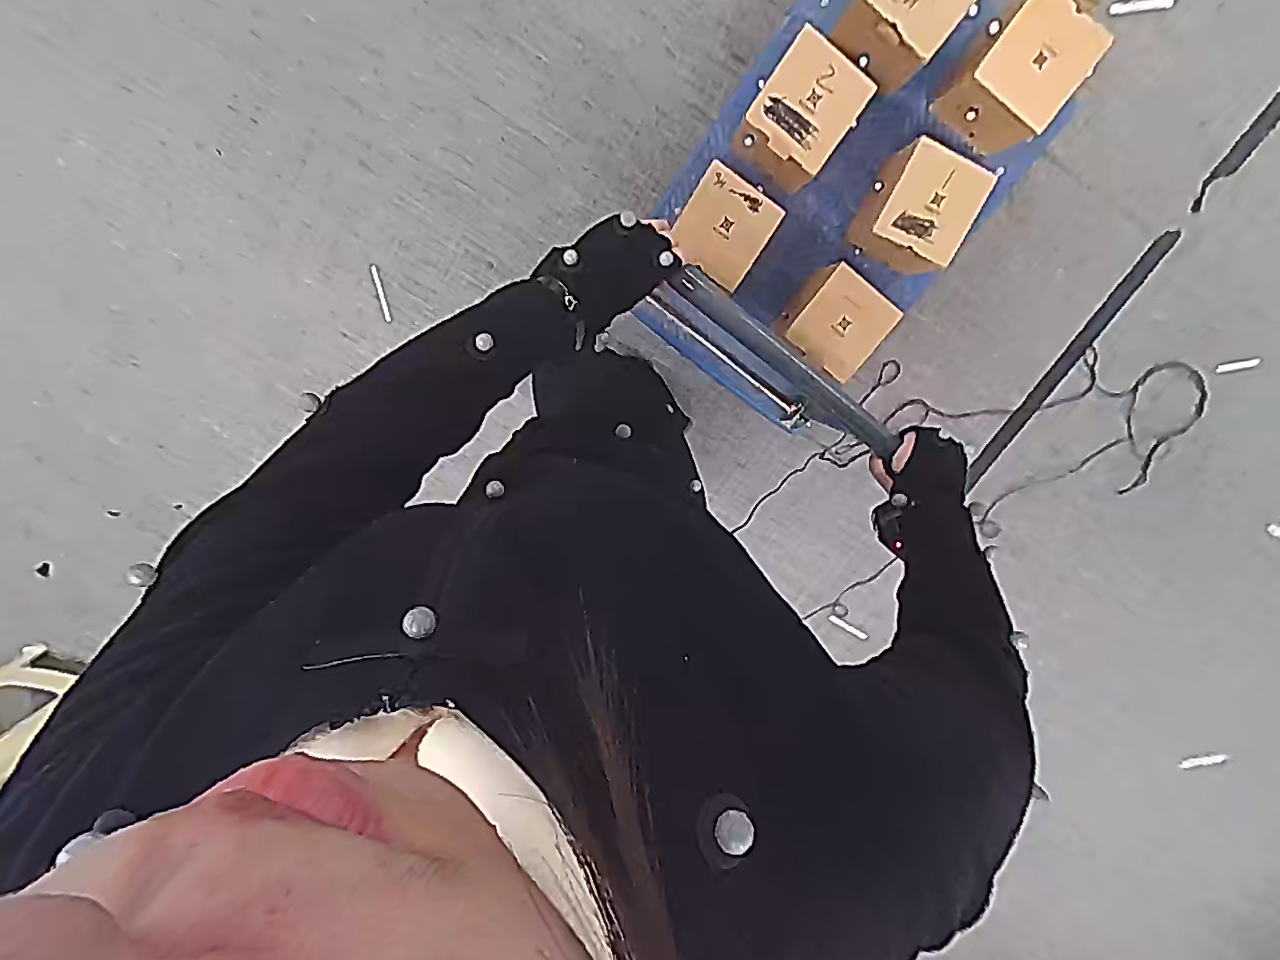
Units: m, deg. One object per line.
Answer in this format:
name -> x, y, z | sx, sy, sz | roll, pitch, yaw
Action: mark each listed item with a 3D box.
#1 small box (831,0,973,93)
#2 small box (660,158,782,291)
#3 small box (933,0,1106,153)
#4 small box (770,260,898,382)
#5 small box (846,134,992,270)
small box -> 0.479, -0.860, 0.977 | 0.168, 0.176, 0.179 | 38, 104, -10
small box -> 0.153, -0.500, 1.090 | 0.168, 0.176, 0.179 | 32, 105, -10
small box -> 0.688, -0.756, 1.011 | 0.168, 0.176, 0.179 | 33, 104, -9
small box -> 0.395, -0.333, 1.143 | 0.168, 0.176, 0.179 | 36, 103, -11
small box -> 0.538, -0.538, 1.078 | 0.168, 0.176, 0.179 | 24, 105, -7
